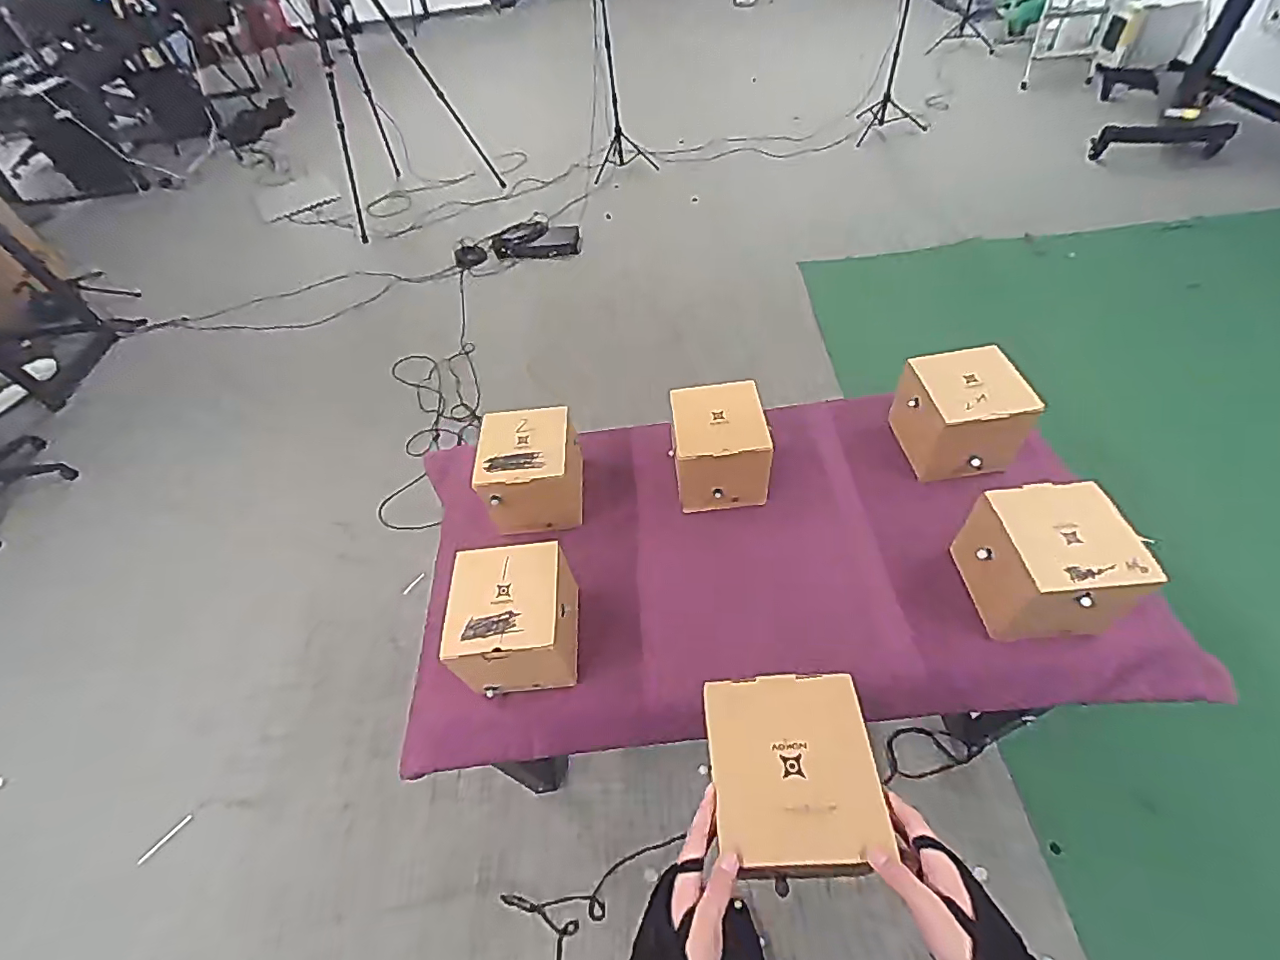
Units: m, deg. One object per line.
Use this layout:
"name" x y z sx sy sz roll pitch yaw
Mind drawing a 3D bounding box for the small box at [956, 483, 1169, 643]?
"small box" 0.619 0.129 0.827 0.168 0.176 0.179 -6 49 4

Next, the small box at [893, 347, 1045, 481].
"small box" 0.605 -0.122 1.025 0.168 0.176 0.179 -9 52 4

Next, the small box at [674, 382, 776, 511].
"small box" 0.154 -0.062 1.042 0.168 0.176 0.179 -6 53 2

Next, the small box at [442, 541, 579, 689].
"small box" -0.192 0.220 0.858 0.168 0.176 0.179 -6 51 2
